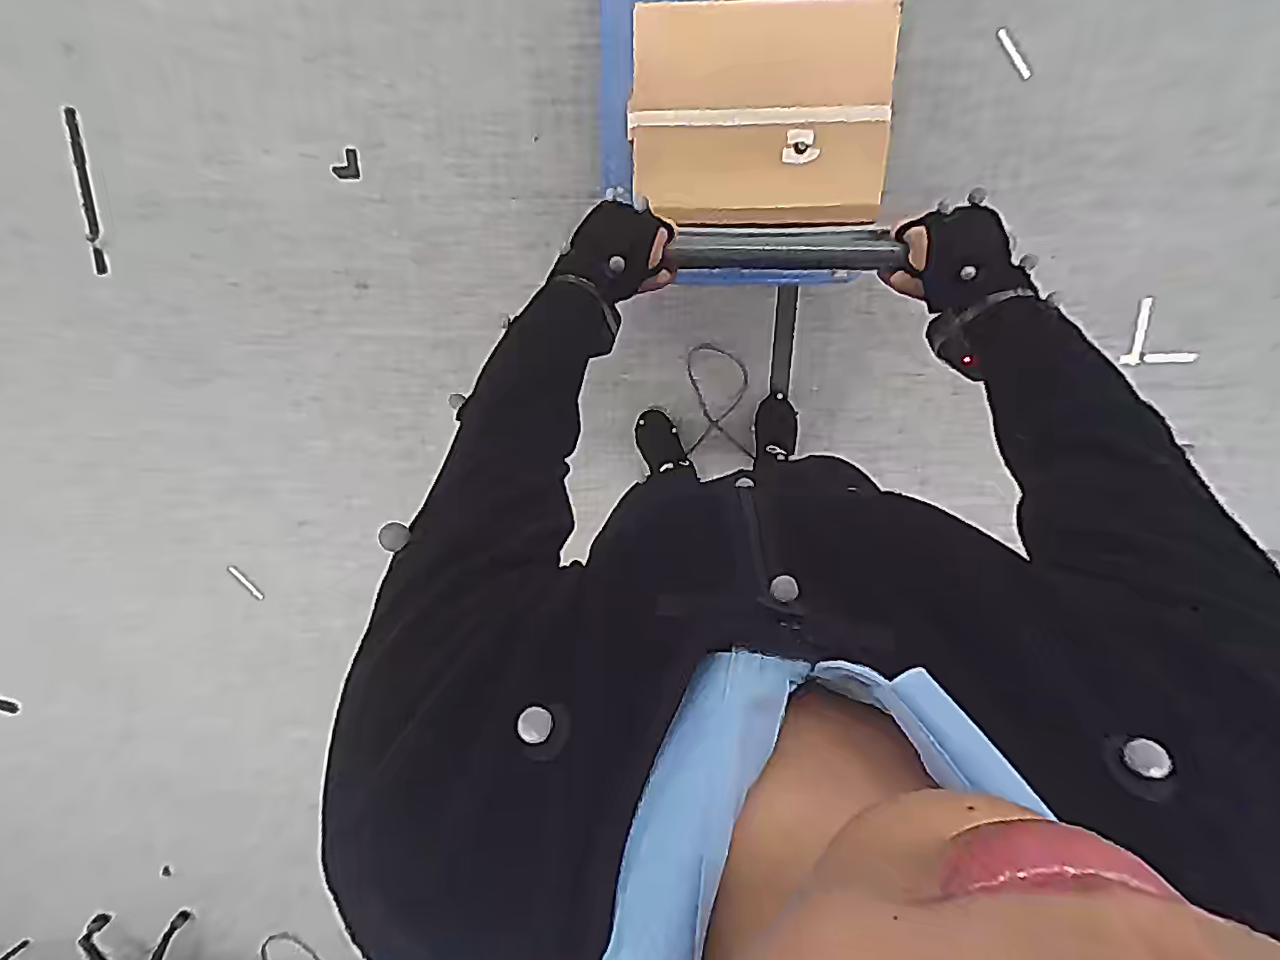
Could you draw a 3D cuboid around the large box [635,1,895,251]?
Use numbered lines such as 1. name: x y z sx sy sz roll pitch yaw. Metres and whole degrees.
1. large box: 0.201 -0.621 1.016 0.408 0.320 0.320 1 107 3
